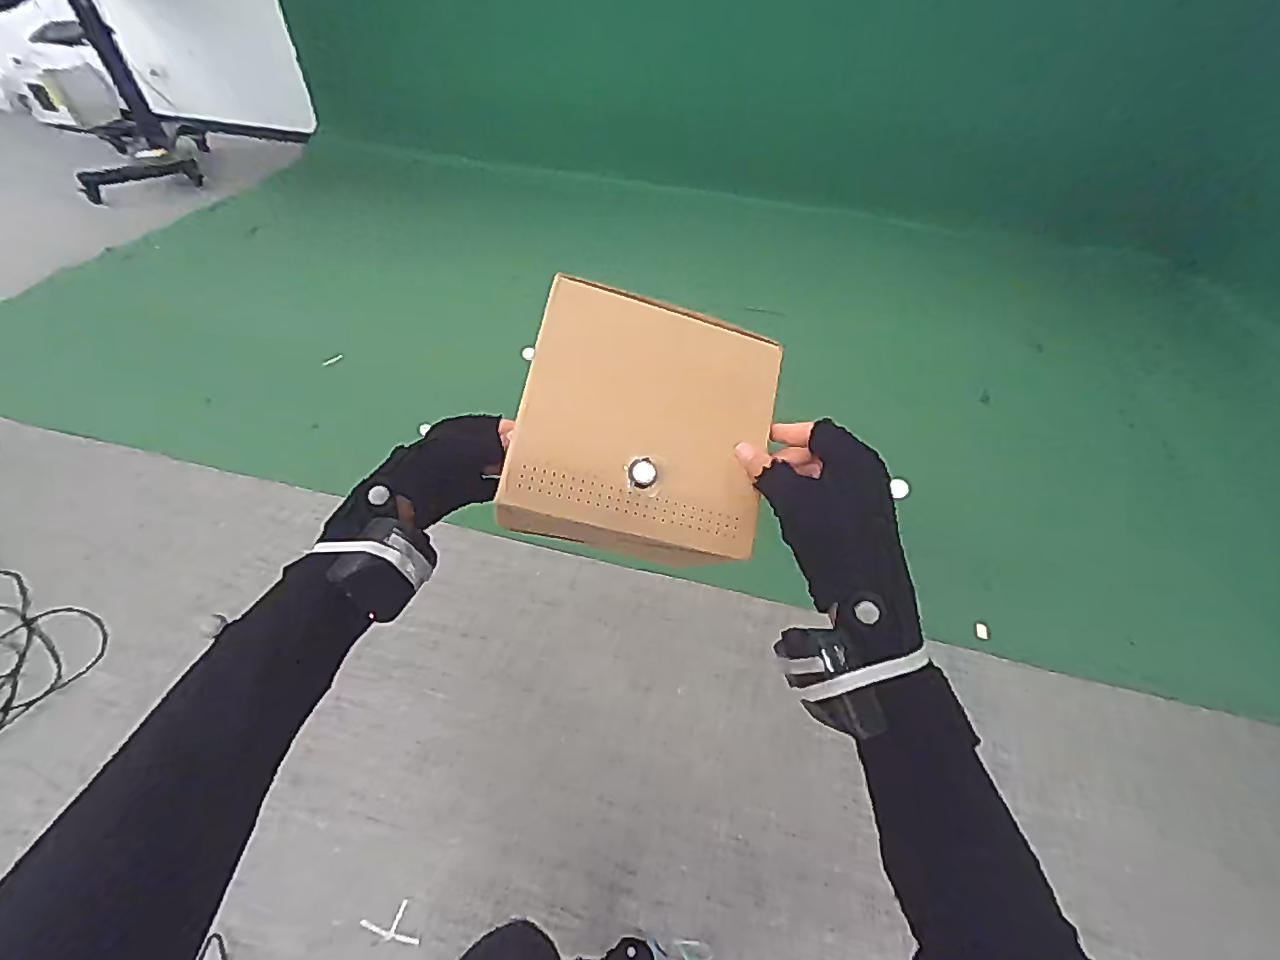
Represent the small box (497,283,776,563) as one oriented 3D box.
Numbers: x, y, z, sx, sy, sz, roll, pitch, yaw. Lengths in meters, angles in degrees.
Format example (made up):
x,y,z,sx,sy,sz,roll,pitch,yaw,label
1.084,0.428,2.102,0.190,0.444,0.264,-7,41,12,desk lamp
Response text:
x,y,z,sx,sy,sz,roll,pitch,yaw,label
-0.010,-0.028,0.457,0.179,0.168,0.176,14,77,-10,small box
